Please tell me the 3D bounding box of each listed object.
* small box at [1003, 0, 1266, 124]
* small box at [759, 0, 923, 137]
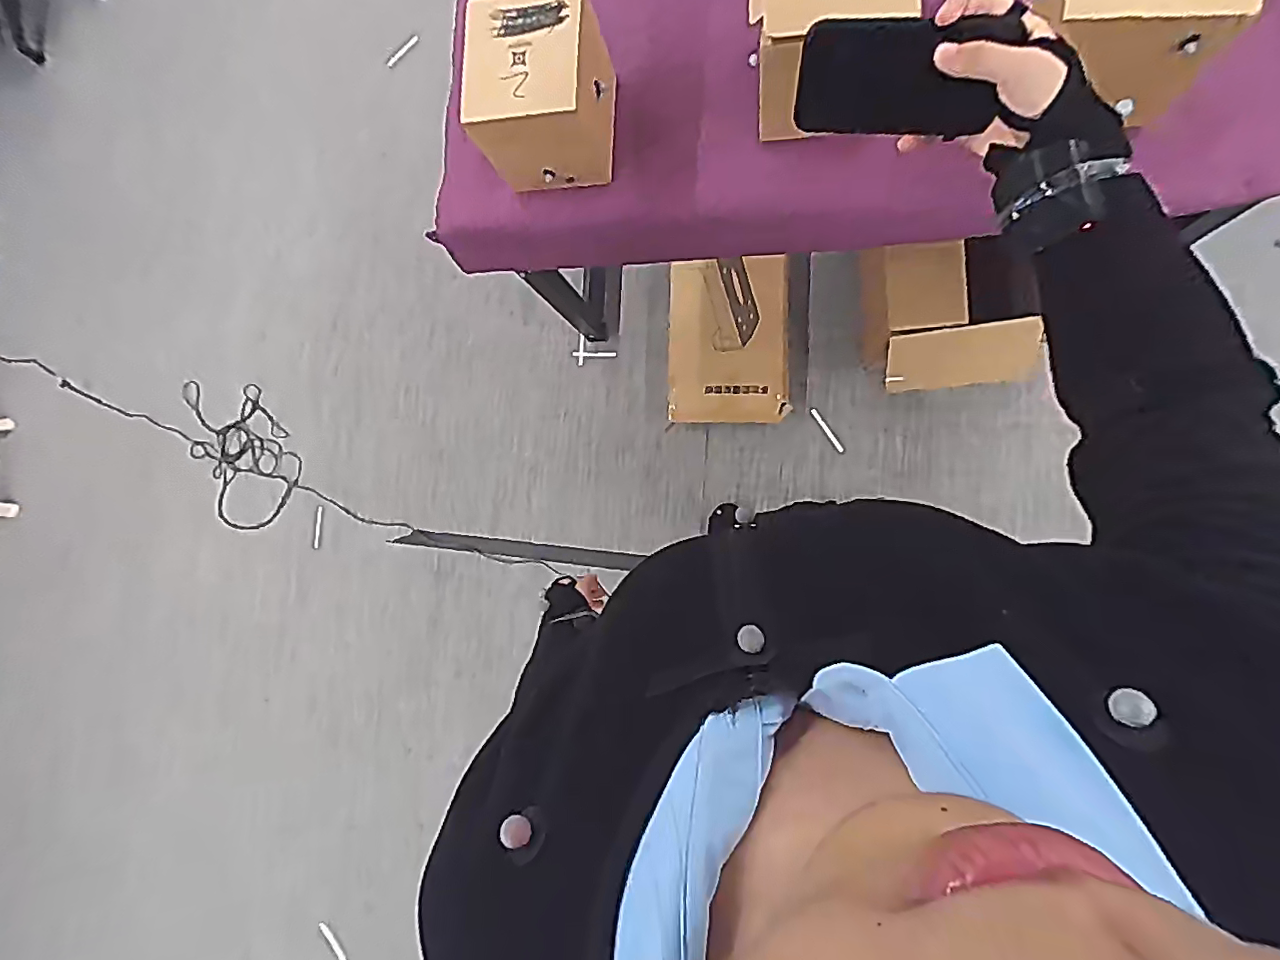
[{"bbox_3d":[0.556,-0.546,0.625,0.179,0.176,0.168,9,89,13],"label":"small box"},{"bbox_3d":[0.246,-0.578,0.694,0.179,0.176,0.168,1,85,13],"label":"small box"}]
